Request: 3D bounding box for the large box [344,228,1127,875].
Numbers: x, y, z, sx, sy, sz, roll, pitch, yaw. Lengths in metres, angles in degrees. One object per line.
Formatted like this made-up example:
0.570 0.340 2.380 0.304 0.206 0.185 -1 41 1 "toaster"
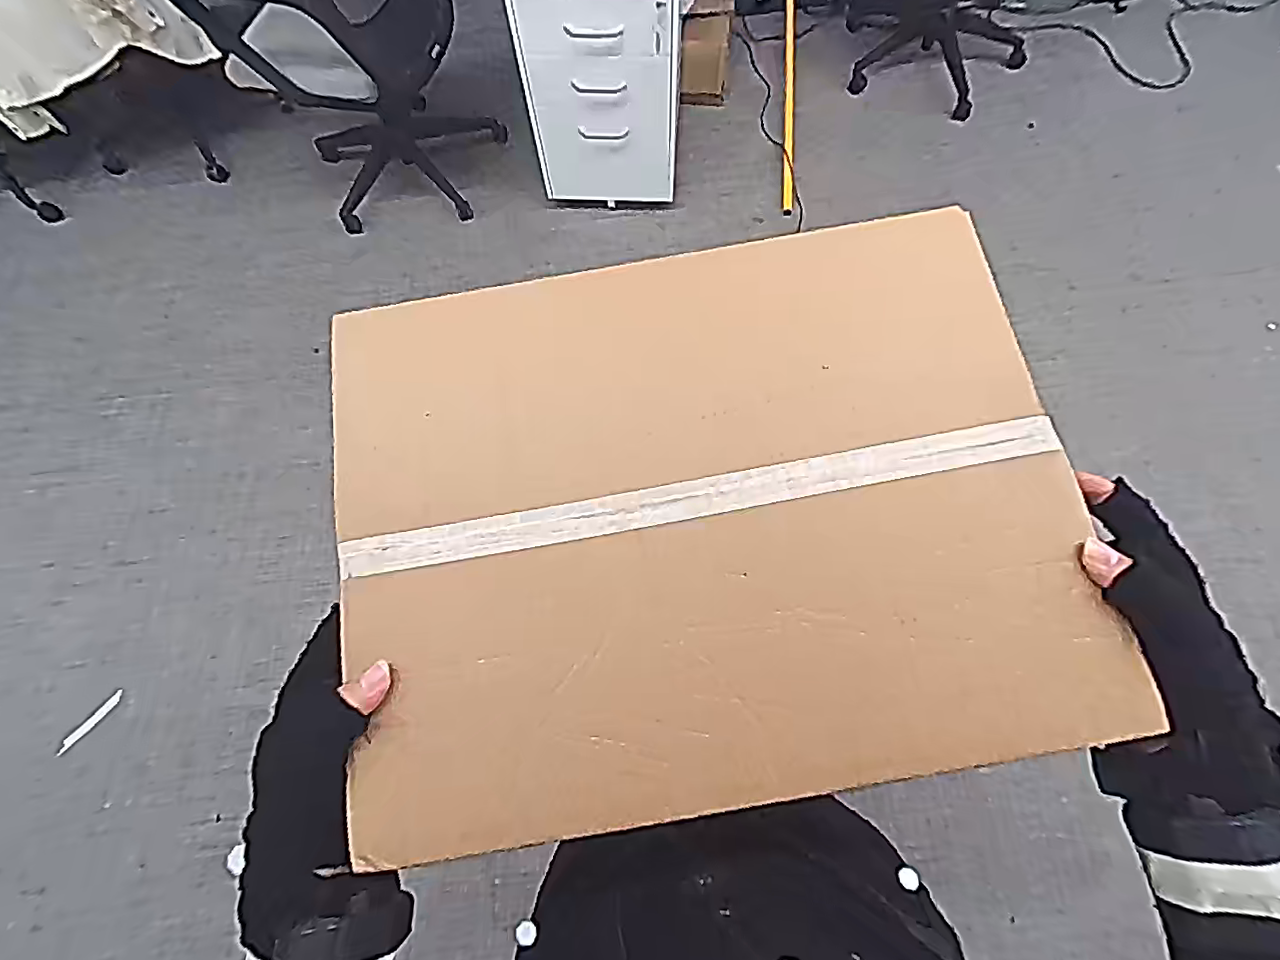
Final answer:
0.039 0.054 0.456 0.408 0.320 0.320 -11 75 0 "large box"
